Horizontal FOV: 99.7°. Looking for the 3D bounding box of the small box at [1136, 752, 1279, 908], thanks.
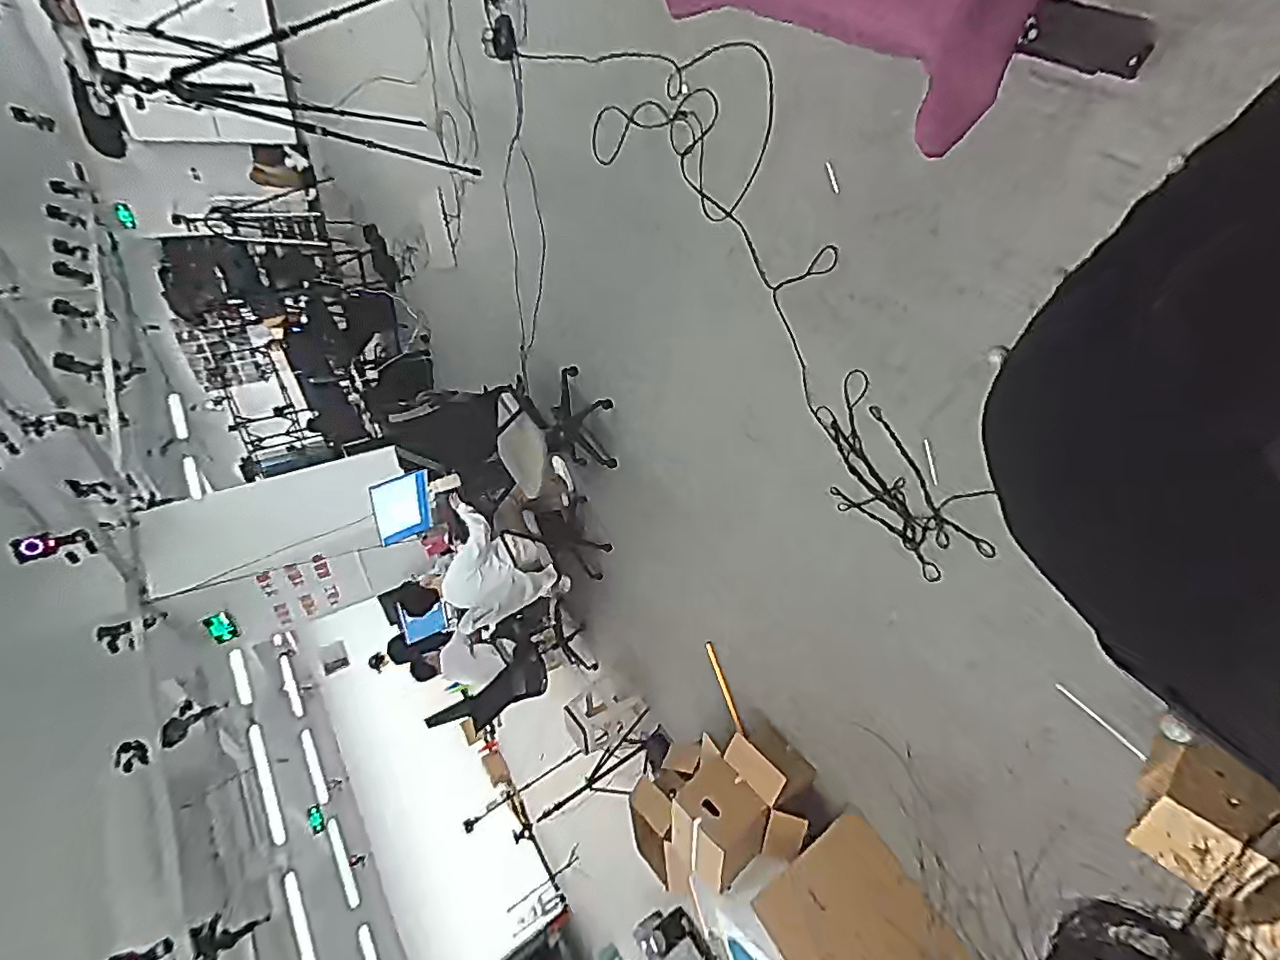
[{"bbox_3d":[1.171,0.700,1.100,0.168,0.176,0.179,33,135,43],"label":"small box"}]
